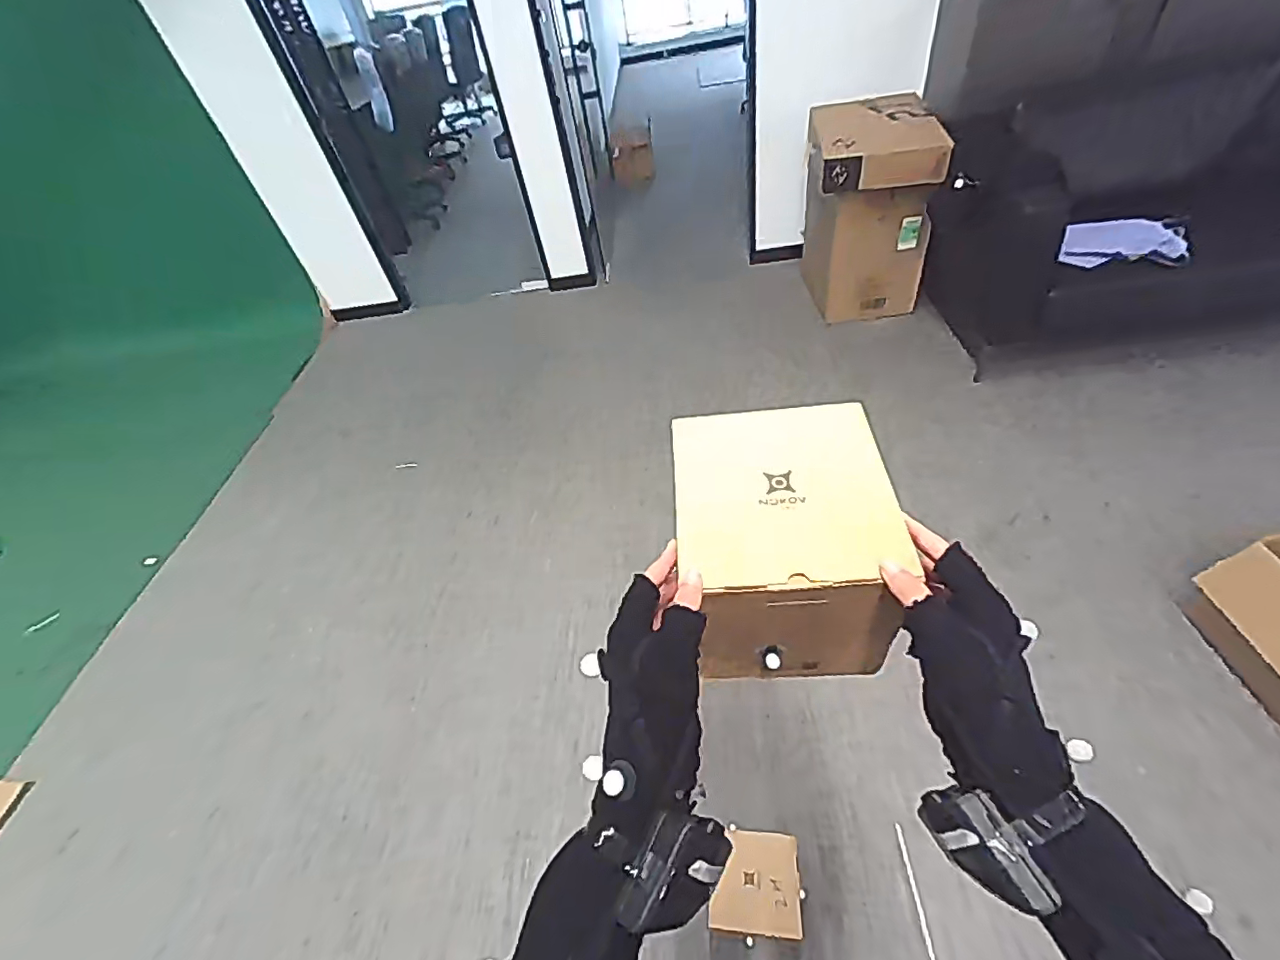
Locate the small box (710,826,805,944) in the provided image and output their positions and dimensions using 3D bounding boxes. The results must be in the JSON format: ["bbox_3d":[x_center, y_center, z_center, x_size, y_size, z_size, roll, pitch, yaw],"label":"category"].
[{"bbox_3d":[0.241,0.834,1.111,0.179,0.176,0.168,-2,47,12],"label":"small box"}]
